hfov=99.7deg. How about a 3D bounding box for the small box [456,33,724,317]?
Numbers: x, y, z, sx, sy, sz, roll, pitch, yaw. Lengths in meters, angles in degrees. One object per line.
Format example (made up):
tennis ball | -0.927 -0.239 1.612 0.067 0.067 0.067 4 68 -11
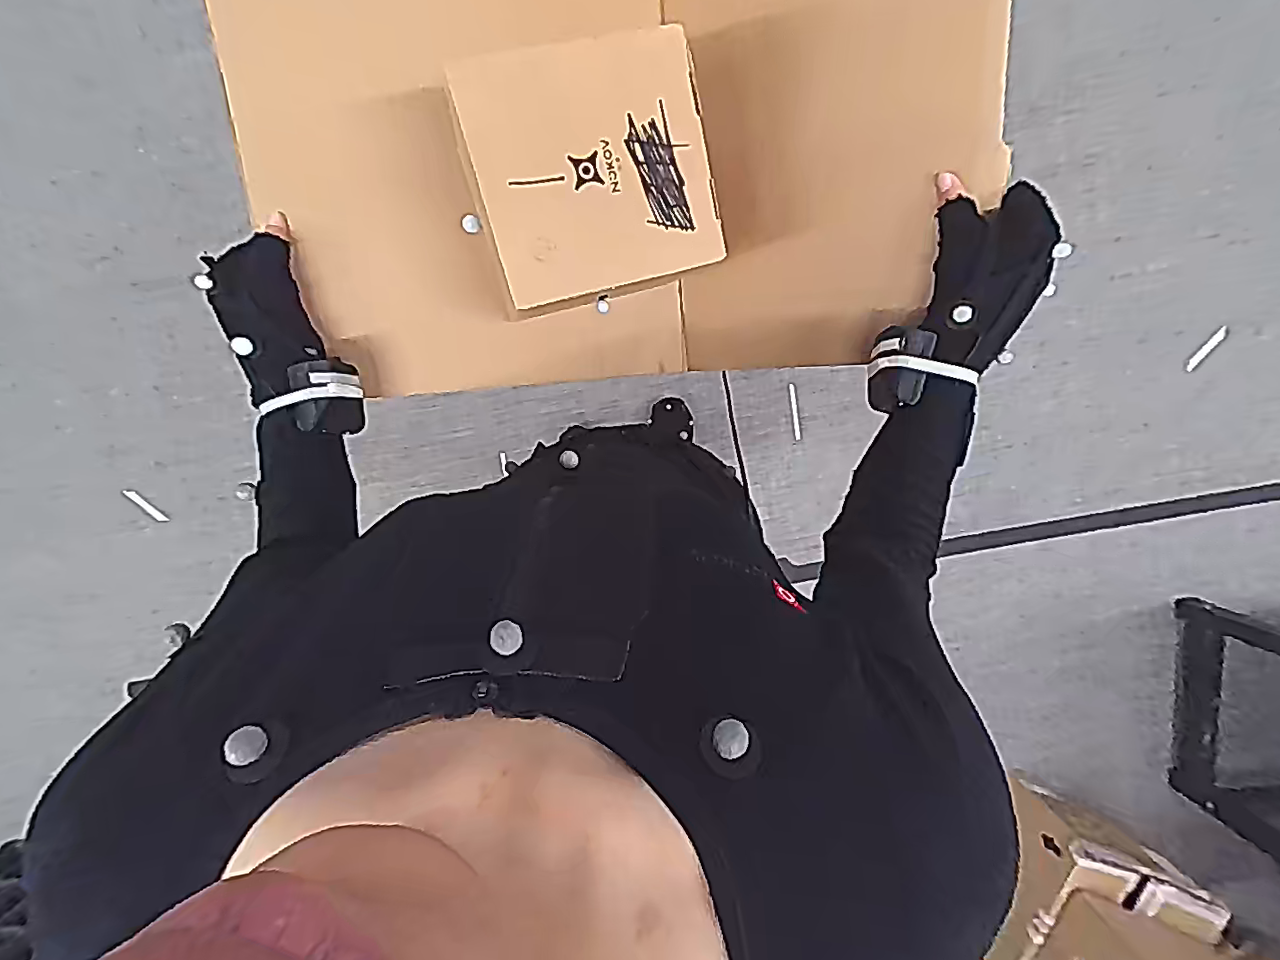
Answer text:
small box | -0.048 -0.250 0.483 0.179 0.176 0.168 -17 106 -9
